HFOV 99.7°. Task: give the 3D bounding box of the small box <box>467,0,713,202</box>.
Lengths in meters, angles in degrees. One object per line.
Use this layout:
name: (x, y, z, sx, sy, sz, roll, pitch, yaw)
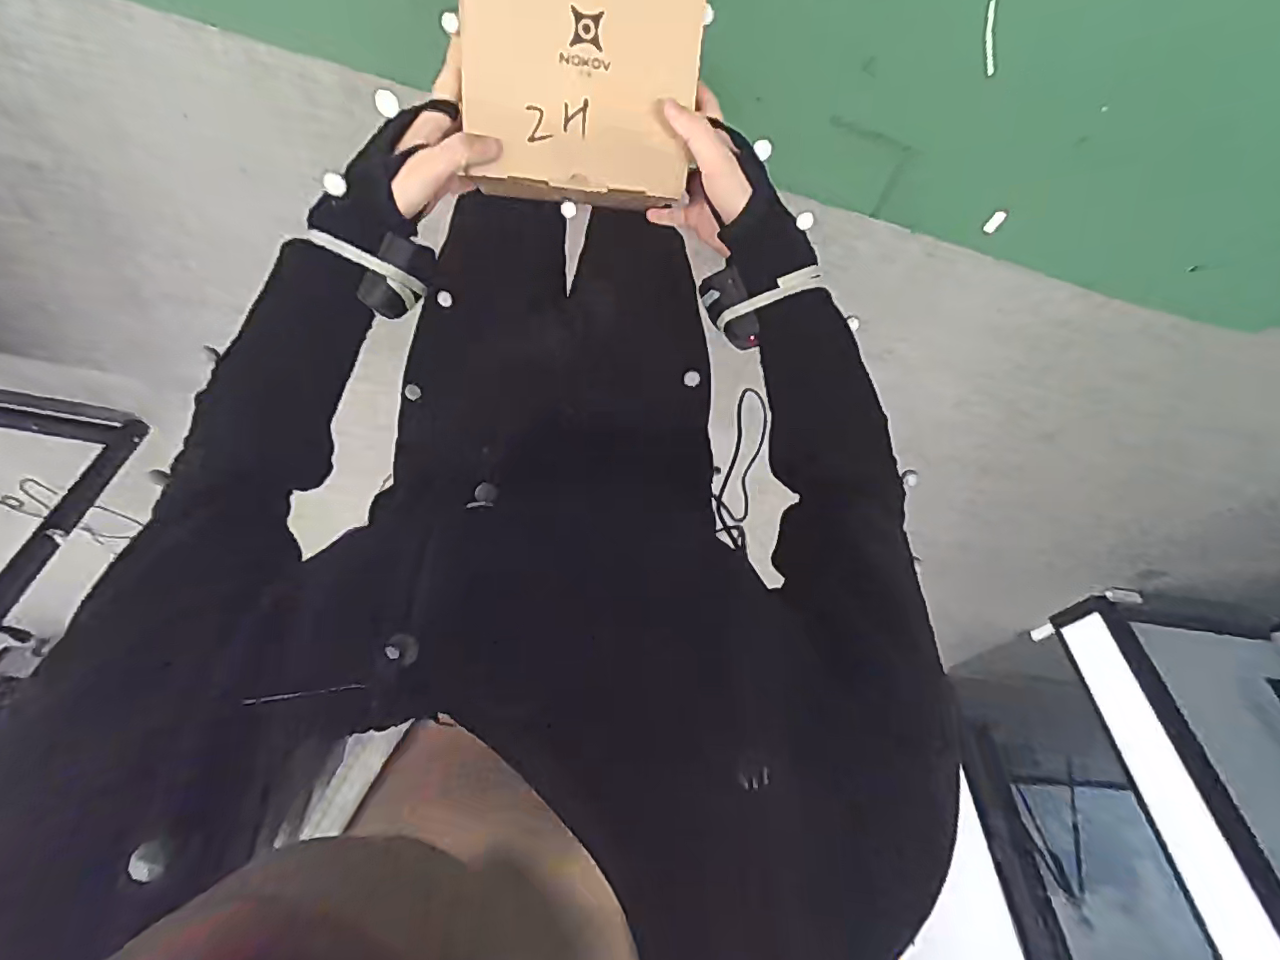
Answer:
small box: (-0.049, -0.336, 0.438, 0.168, 0.176, 0.179, 1, 115, -12)
